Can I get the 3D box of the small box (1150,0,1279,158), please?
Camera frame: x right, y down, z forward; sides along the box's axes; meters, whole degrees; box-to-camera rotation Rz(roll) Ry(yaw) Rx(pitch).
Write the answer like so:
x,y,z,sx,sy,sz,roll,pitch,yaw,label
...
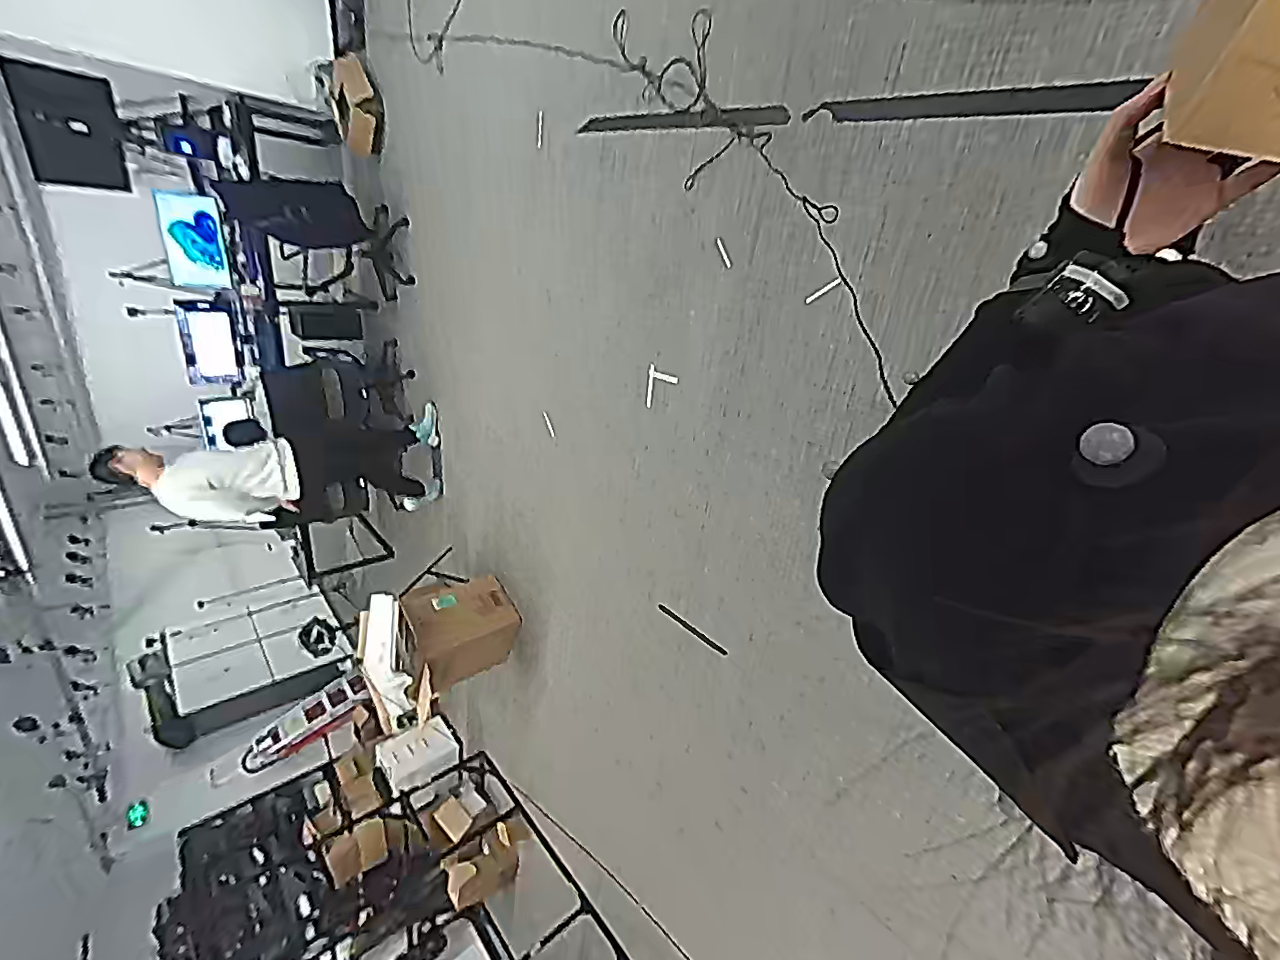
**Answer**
x,y,z,sx,sy,sz,roll,pitch,yaw,label
0.383,-0.252,0.237,0.179,0.176,0.168,25,146,20,small box
